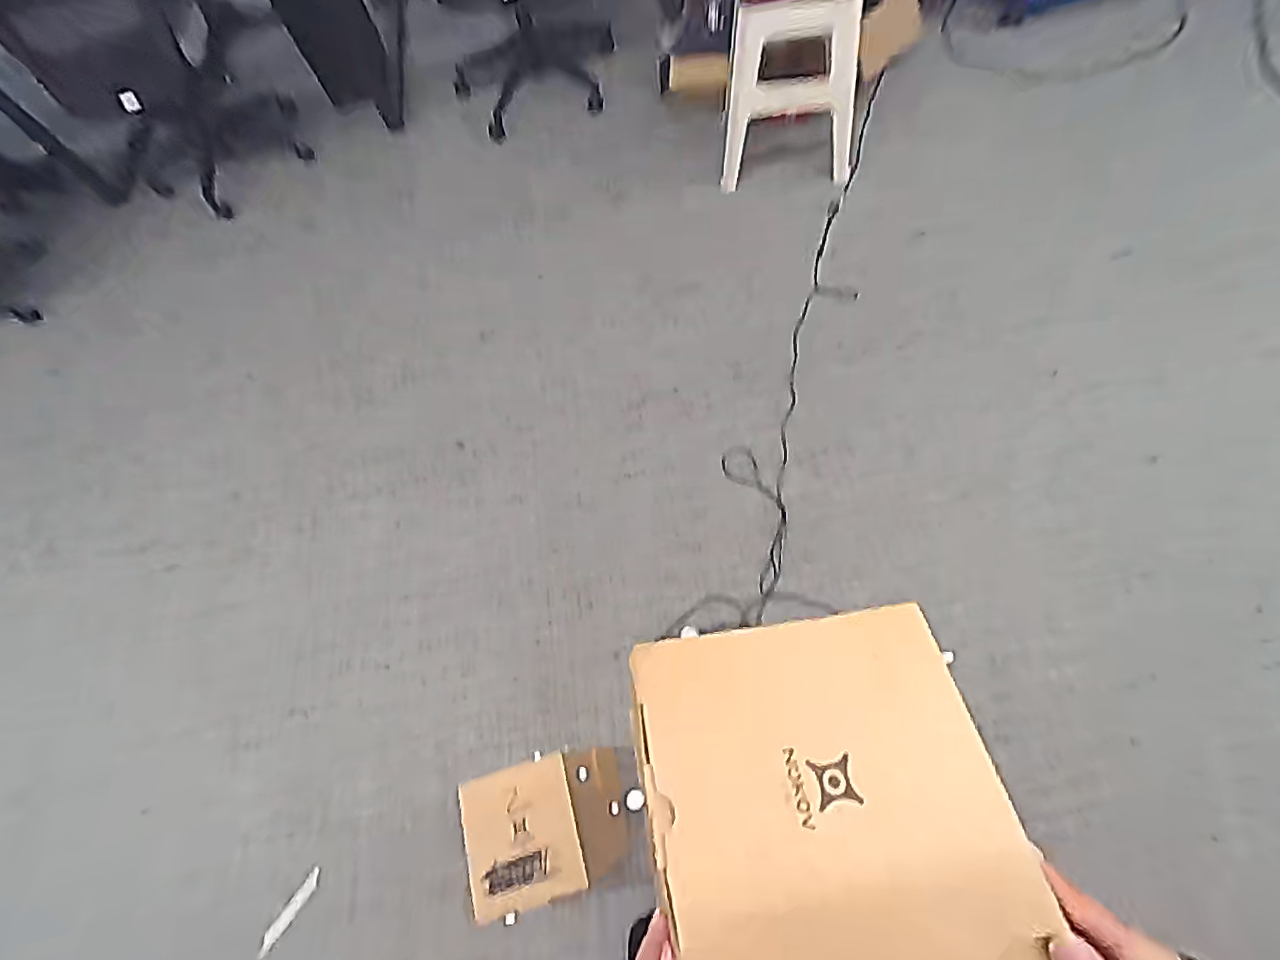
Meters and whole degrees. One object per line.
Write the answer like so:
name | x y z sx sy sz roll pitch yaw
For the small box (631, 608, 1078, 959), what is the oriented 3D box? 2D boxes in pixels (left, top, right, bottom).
small box | 0.091 0.194 0.332 0.179 0.176 0.168 -8 57 -4

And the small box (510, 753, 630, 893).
small box | -0.122 0.612 0.986 0.168 0.176 0.179 -15 63 2
